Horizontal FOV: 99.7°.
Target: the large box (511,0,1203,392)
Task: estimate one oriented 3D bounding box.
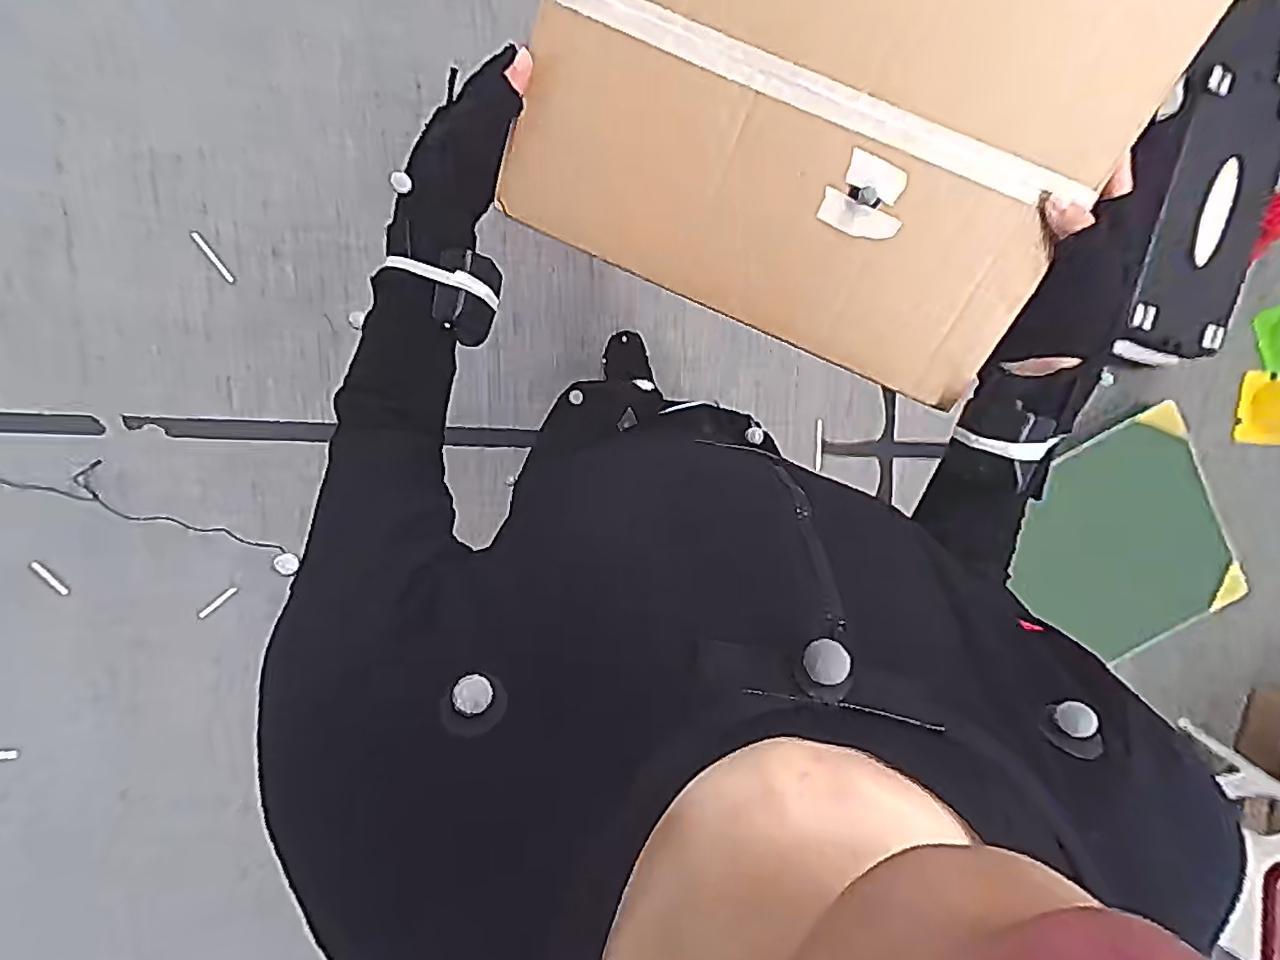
[{"bbox_3d":[0.150,-0.331,0.523,0.408,0.320,0.320,24,116,1],"label":"large box"}]
